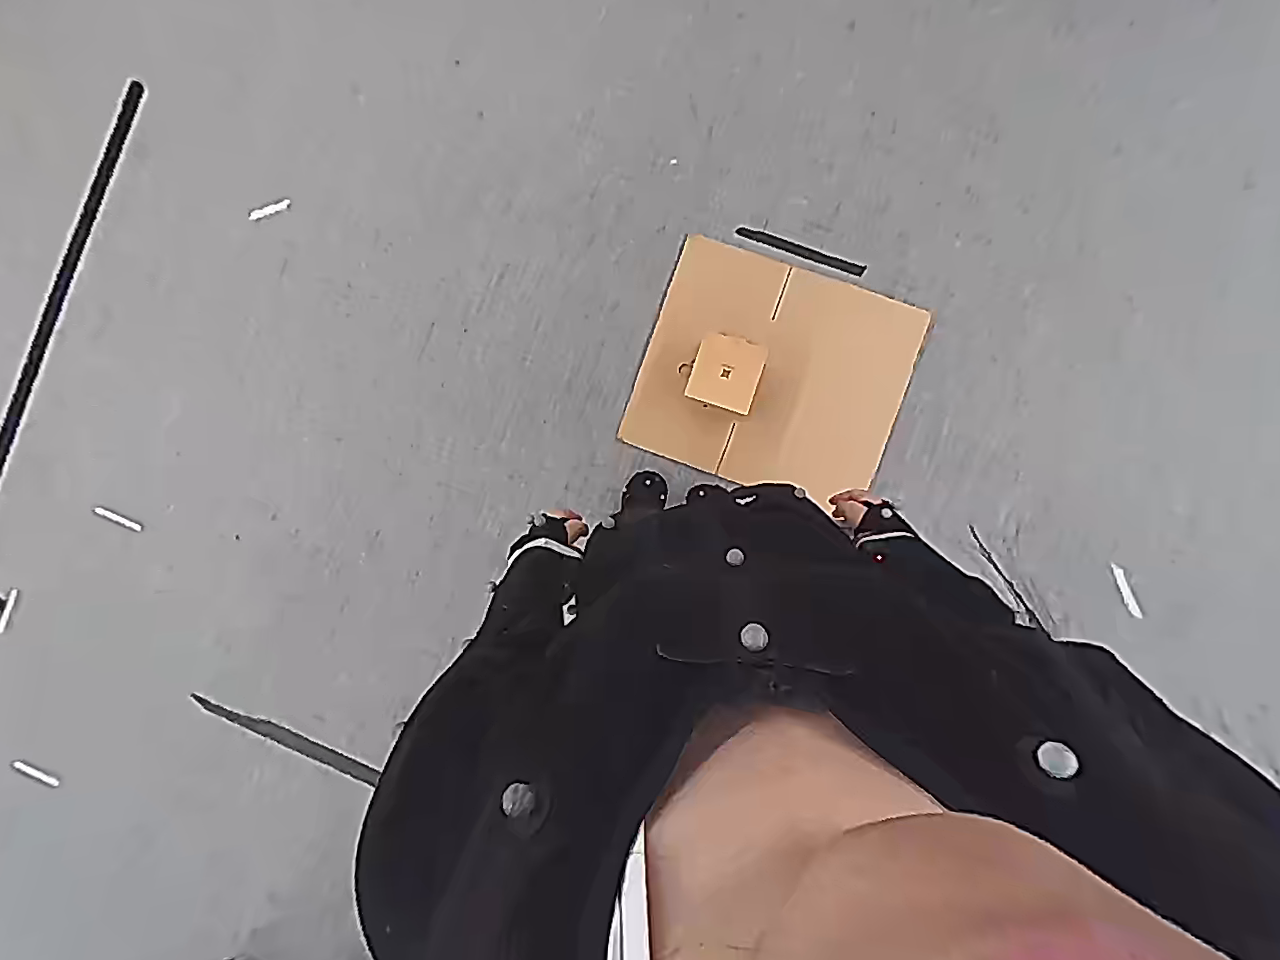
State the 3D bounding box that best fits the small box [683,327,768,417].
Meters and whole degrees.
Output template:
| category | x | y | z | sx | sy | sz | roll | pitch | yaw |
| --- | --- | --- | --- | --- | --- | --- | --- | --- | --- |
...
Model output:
| category | x | y | z | sx | sy | sz | roll | pitch | yaw |
| --- | --- | --- | --- | --- | --- | --- | --- | --- | --- |
| small box | 0.217 | -0.271 | 1.402 | 0.168 | 0.176 | 0.179 | 18 | 92 | 3 |
